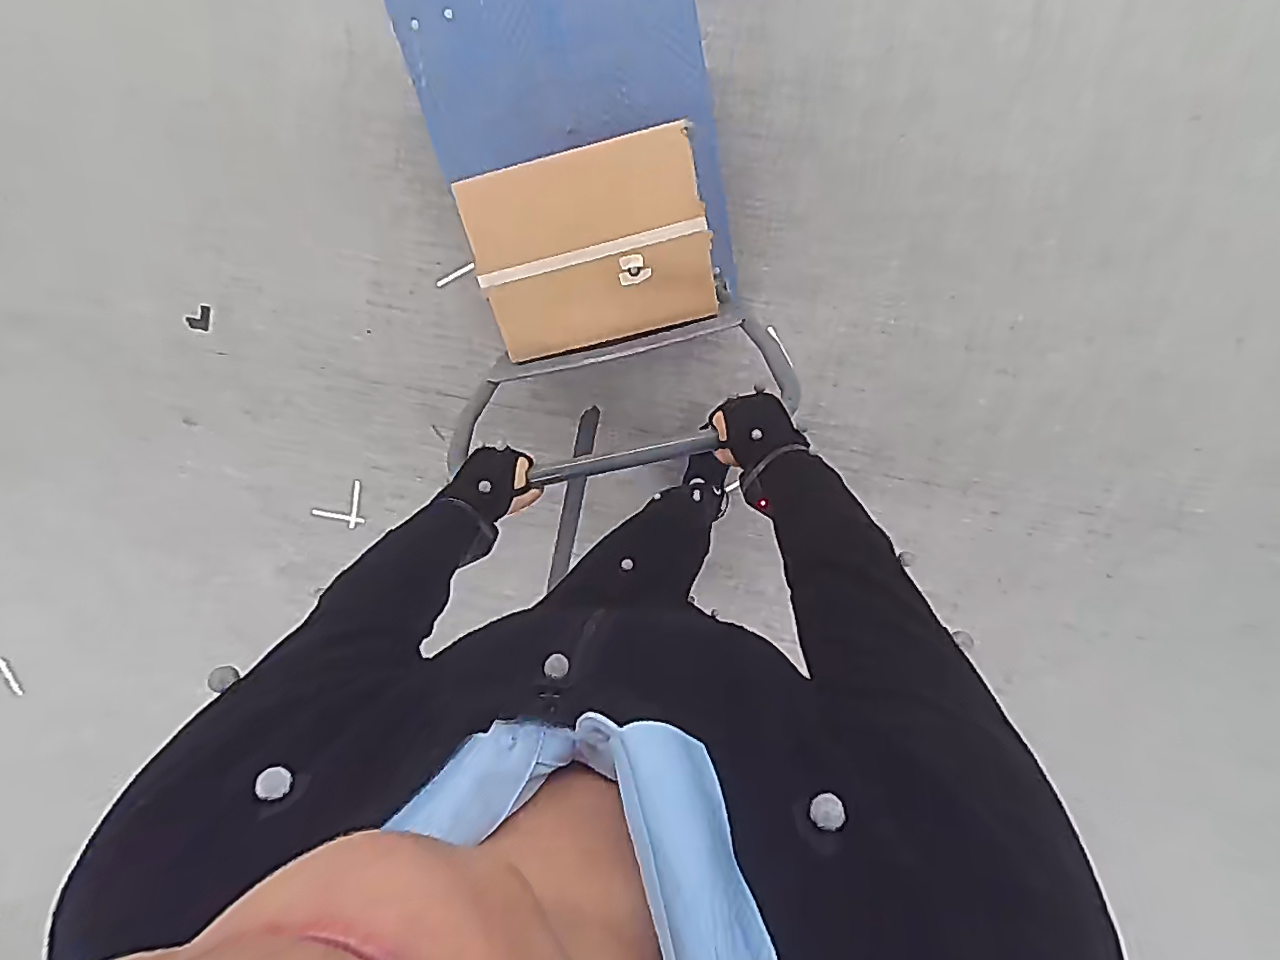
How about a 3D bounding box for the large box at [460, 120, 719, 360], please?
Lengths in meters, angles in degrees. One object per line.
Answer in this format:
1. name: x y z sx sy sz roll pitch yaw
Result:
1. large box: -0.086 -0.472 1.098 0.408 0.320 0.320 -13 115 4
